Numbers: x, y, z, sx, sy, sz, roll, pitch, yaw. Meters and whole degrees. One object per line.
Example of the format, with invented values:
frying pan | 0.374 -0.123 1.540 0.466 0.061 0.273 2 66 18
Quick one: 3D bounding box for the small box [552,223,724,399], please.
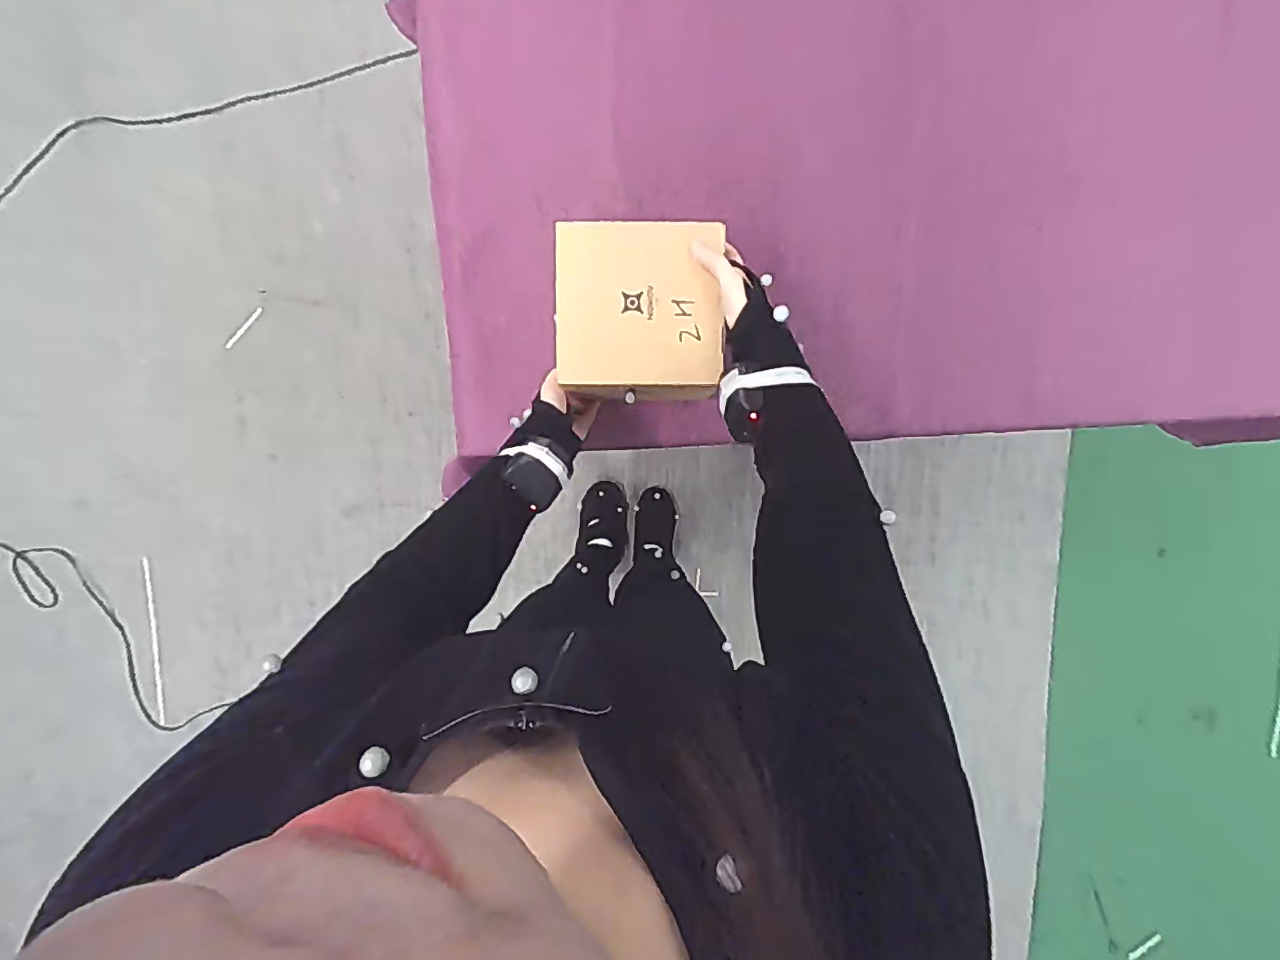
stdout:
small box | -0.002 -0.184 0.634 0.179 0.176 0.168 1 94 0
